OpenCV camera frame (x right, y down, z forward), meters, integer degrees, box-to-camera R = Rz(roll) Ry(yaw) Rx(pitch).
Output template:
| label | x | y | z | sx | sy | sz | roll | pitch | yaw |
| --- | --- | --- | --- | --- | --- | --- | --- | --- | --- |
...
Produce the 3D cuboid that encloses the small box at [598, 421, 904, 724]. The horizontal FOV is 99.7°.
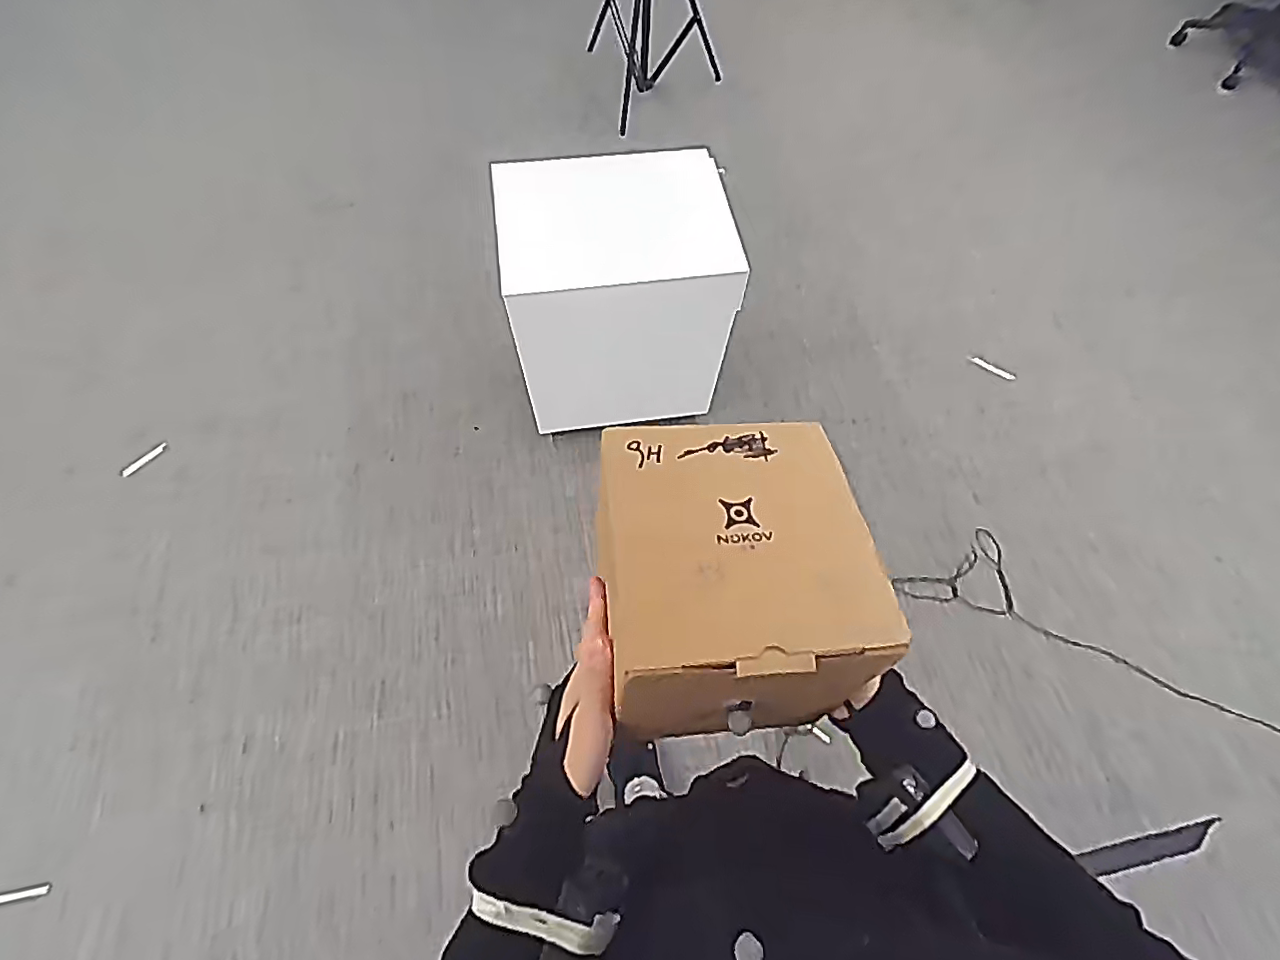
| label | x | y | z | sx | sy | sz | roll | pitch | yaw |
| --- | --- | --- | --- | --- | --- | --- | --- | --- | --- |
| small box | 0.056 | 0.076 | 0.409 | 0.168 | 0.176 | 0.179 | -2 | 54 | -8 |
